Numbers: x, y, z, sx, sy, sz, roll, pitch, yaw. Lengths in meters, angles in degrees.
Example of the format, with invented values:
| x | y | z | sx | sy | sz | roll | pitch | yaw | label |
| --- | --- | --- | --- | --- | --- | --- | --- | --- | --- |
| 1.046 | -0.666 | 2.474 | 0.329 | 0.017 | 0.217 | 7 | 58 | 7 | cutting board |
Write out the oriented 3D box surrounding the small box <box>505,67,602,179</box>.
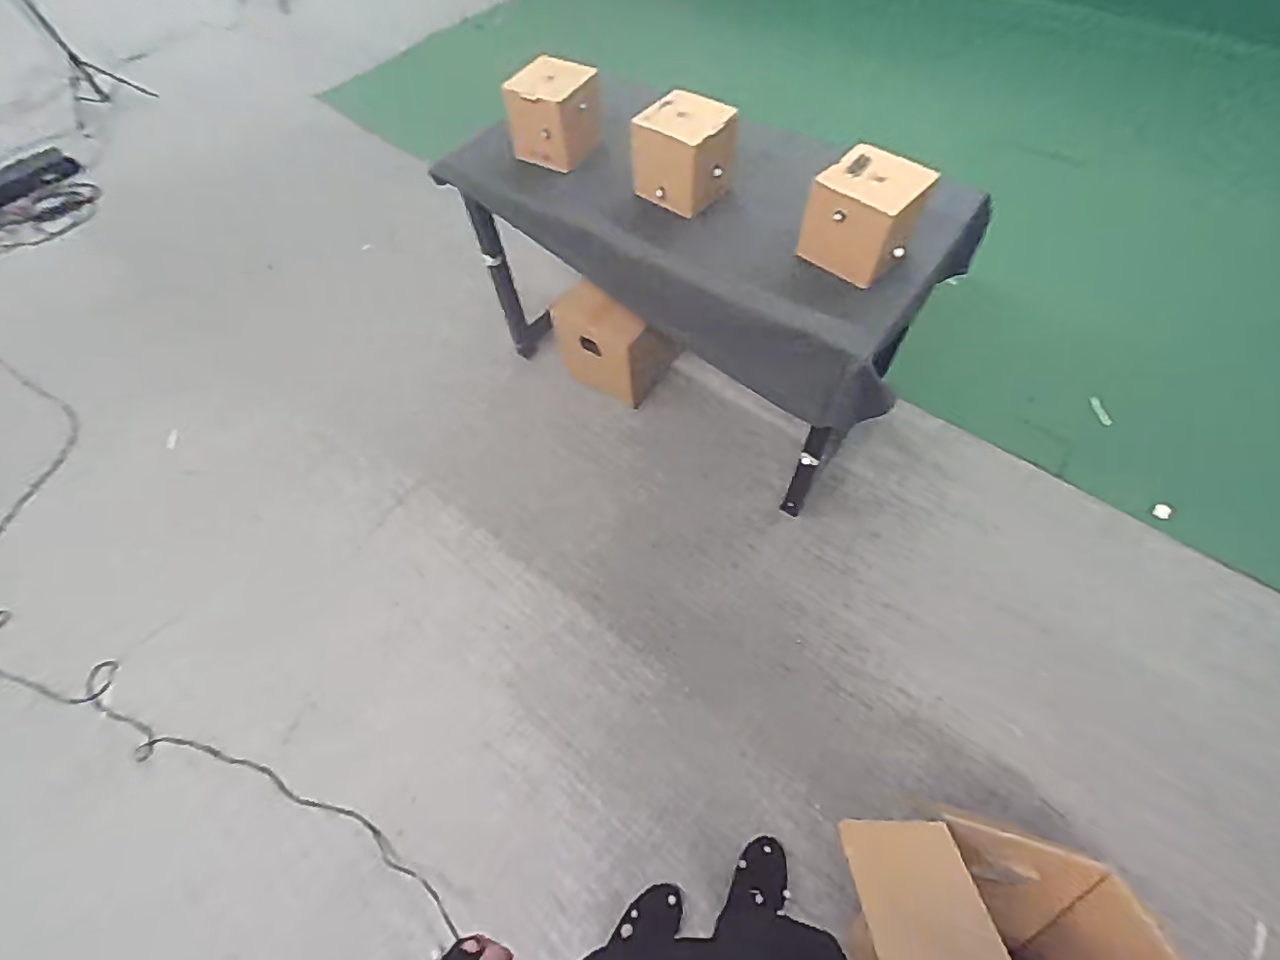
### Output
| x | y | z | sx | sy | sz | roll | pitch | yaw | label |
| --- | --- | --- | --- | --- | --- | --- | --- | --- | --- |
| -0.208 | -0.894 | 1.361 | 0.168 | 0.176 | 0.179 | 26 | 62 | 15 | small box |

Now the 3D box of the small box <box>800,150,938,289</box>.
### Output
| x | y | z | sx | sy | sz | roll | pitch | yaw | label |
| --- | --- | --- | --- | --- | --- | --- | --- | --- | --- |
| 0.451 | -0.522 | 1.095 | 0.179 | 0.176 | 0.168 | 39 | 70 | 23 | small box |

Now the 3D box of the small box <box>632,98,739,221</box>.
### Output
| x | y | z | sx | sy | sz | roll | pitch | yaw | label |
| --- | --- | --- | --- | --- | --- | --- | --- | --- | --- |
| 0.103 | -0.730 | 1.243 | 0.179 | 0.176 | 0.168 | 35 | 68 | 21 | small box |
